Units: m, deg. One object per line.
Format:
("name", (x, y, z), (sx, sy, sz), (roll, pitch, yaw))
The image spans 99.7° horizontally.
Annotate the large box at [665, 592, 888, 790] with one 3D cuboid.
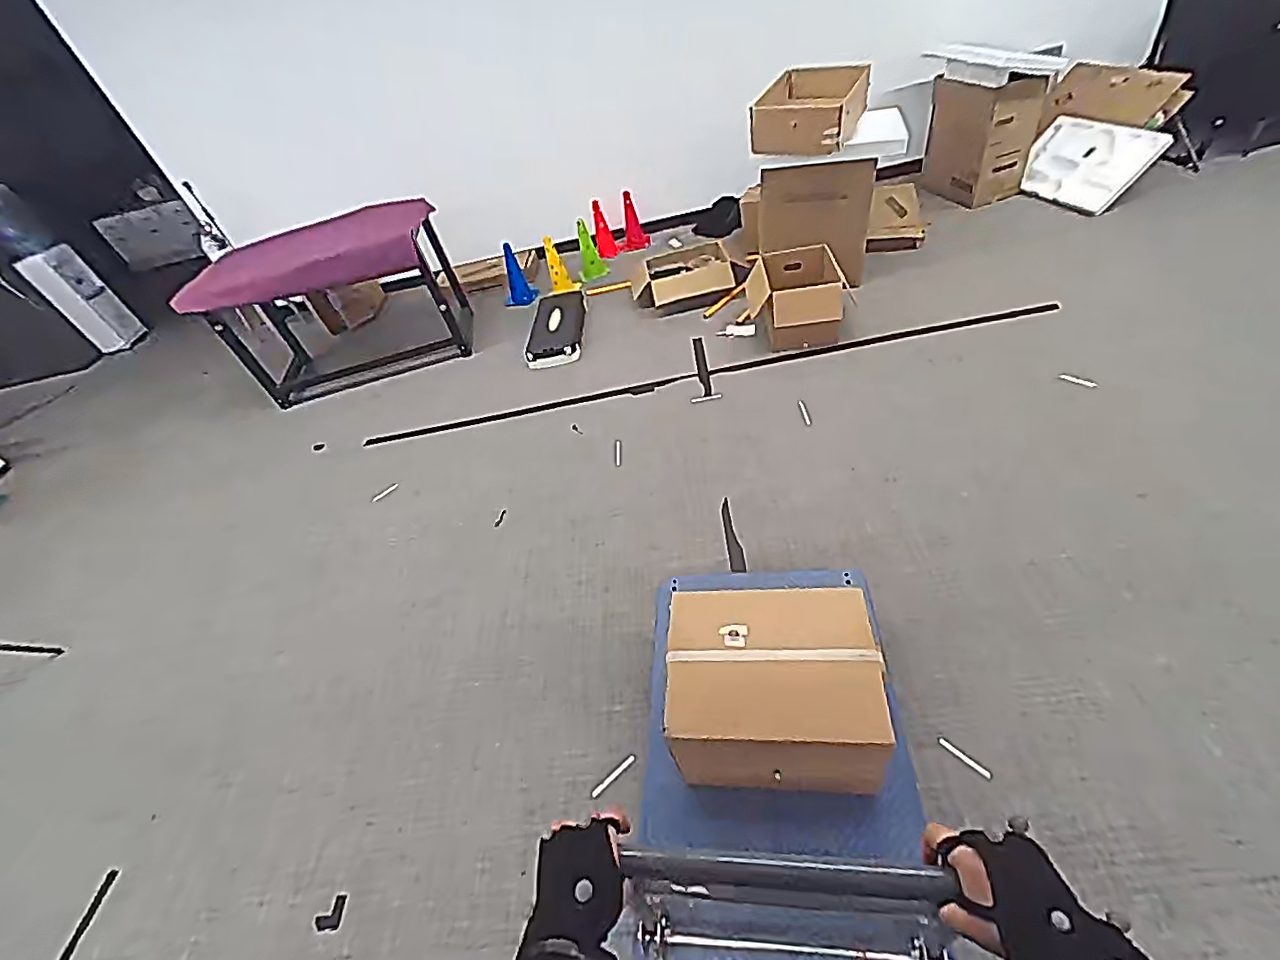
("large box", (0.285, 0.467, 1.186), (0.408, 0.320, 0.320), (-5, 44, 13))
